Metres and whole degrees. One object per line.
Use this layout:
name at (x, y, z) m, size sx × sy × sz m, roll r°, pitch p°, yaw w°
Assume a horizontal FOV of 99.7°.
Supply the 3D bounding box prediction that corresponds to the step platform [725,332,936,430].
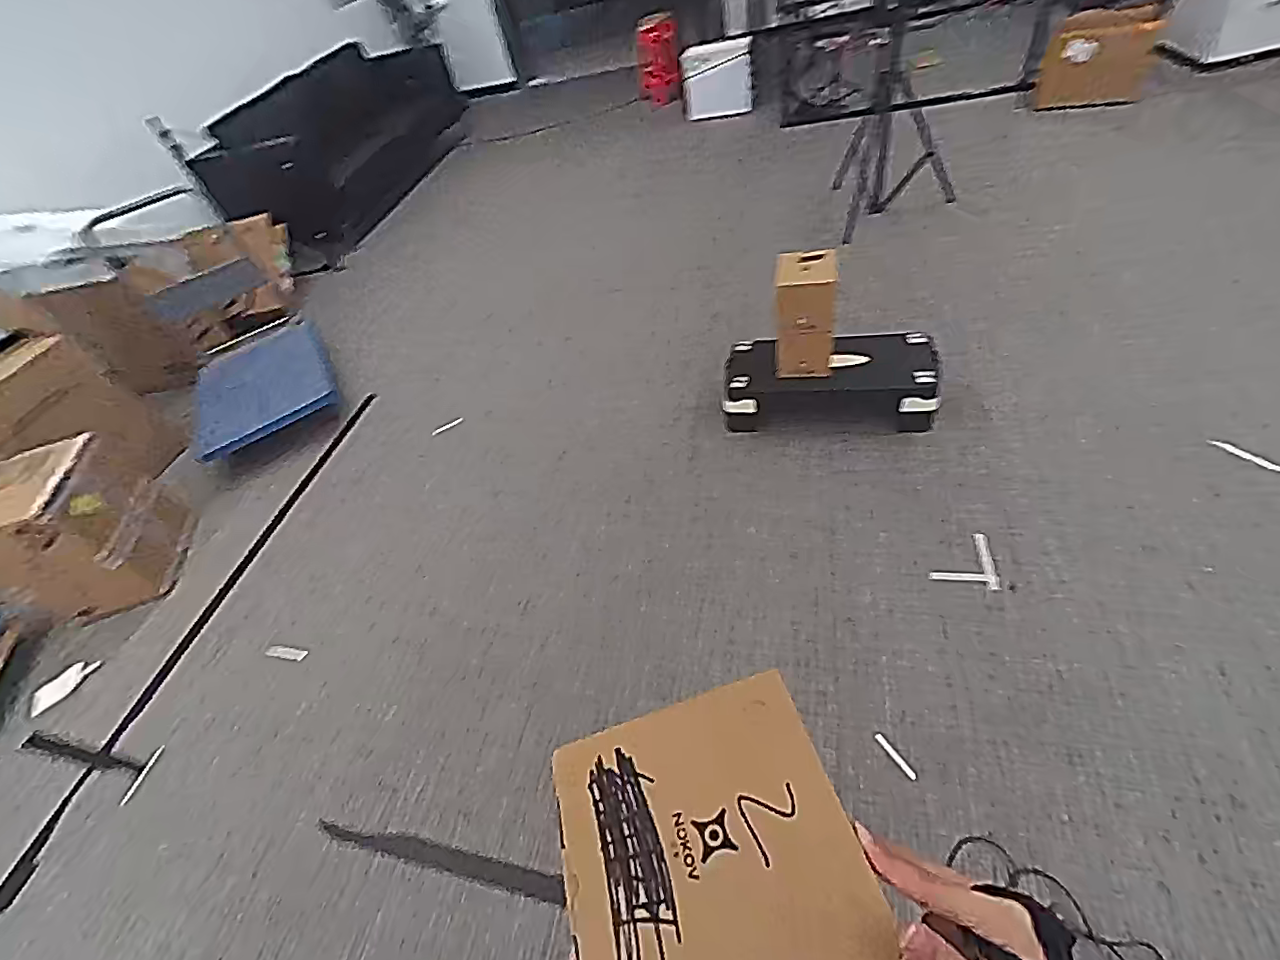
step platform at (0.639, -0.341, 1.875) m, size 0.684 × 0.204 × 0.286 m, roll 1°, pitch 49°, yaw 17°

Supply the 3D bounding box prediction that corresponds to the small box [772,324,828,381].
small box at (0.521, -0.442, 1.760) m, size 0.168 × 0.176 × 0.179 m, roll 2°, pitch 50°, yaw 18°

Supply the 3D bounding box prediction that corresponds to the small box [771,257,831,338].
small box at (0.487, -0.551, 1.642) m, size 0.168 × 0.176 × 0.179 m, roll 2°, pitch 50°, yaw 17°
